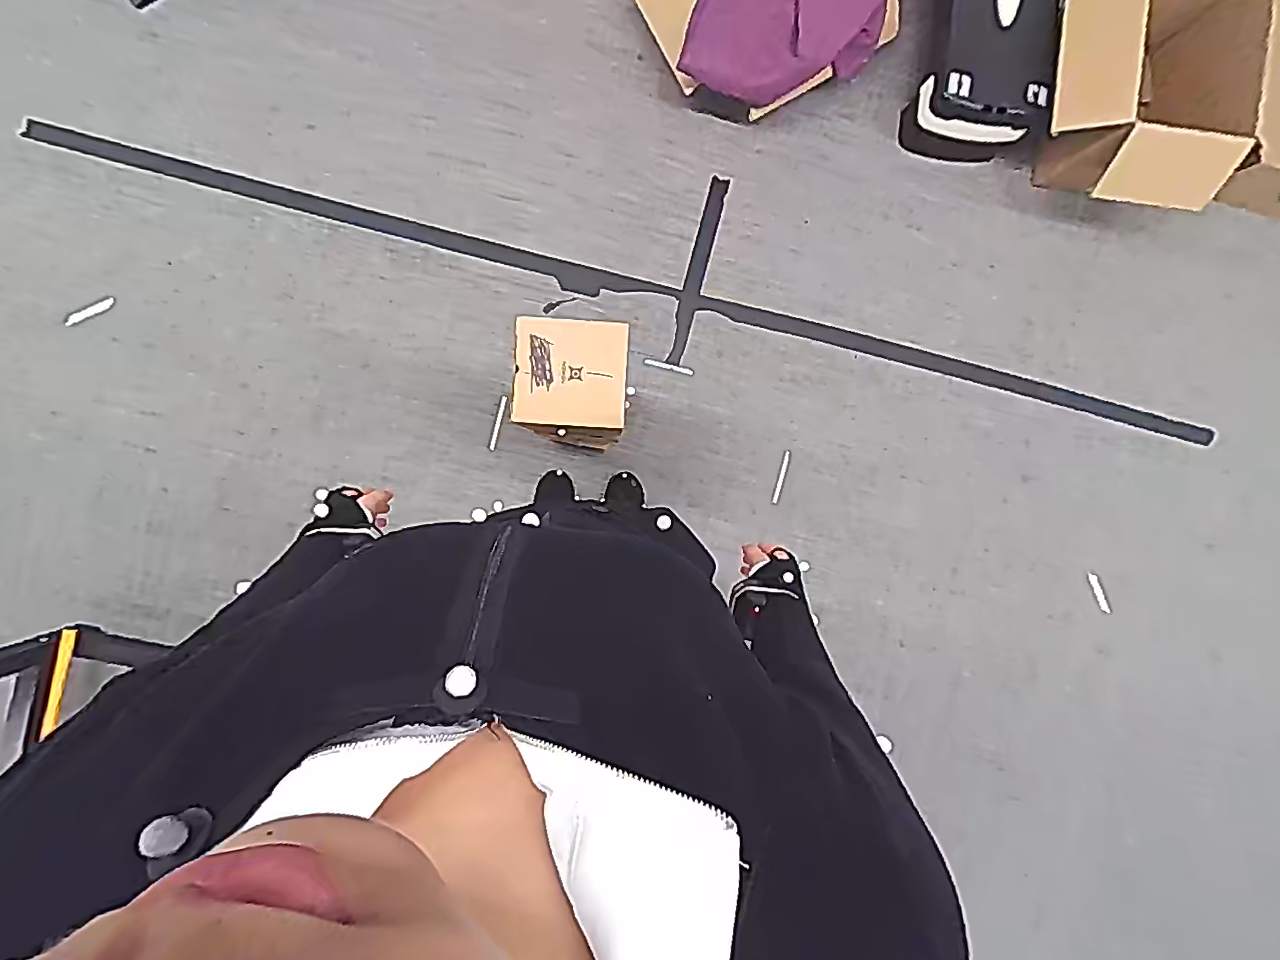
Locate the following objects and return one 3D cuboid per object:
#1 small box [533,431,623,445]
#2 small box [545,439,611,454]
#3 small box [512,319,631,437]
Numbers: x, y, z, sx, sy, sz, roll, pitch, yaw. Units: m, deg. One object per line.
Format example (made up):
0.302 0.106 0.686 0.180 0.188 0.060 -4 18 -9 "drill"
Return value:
-0.113 -0.163 1.079 0.168 0.176 0.179 4 92 -2 "small box"
-0.145 -0.169 1.406 0.168 0.176 0.179 11 93 -2 "small box"
-0.109 -0.162 0.913 0.179 0.176 0.168 4 91 -3 "small box"
